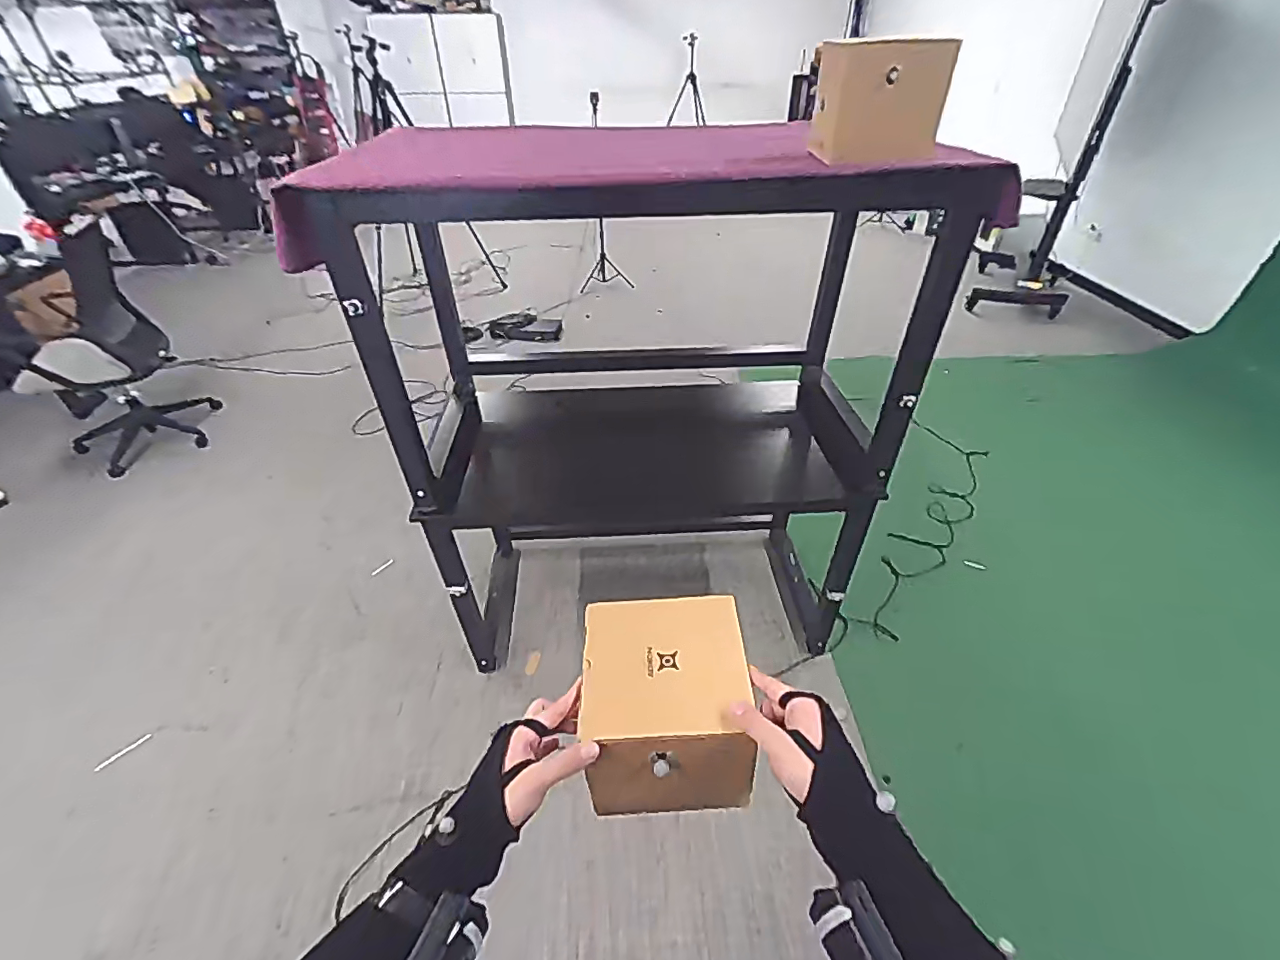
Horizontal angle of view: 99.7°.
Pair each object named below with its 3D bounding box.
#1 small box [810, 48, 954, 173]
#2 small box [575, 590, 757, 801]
[{"bbox_3d":[0.406,-0.647,0.948,0.179,0.176,0.168,0,40,2],"label":"small box"},{"bbox_3d":[0.029,0.247,0.622,0.179,0.176,0.168,-4,37,2],"label":"small box"}]
